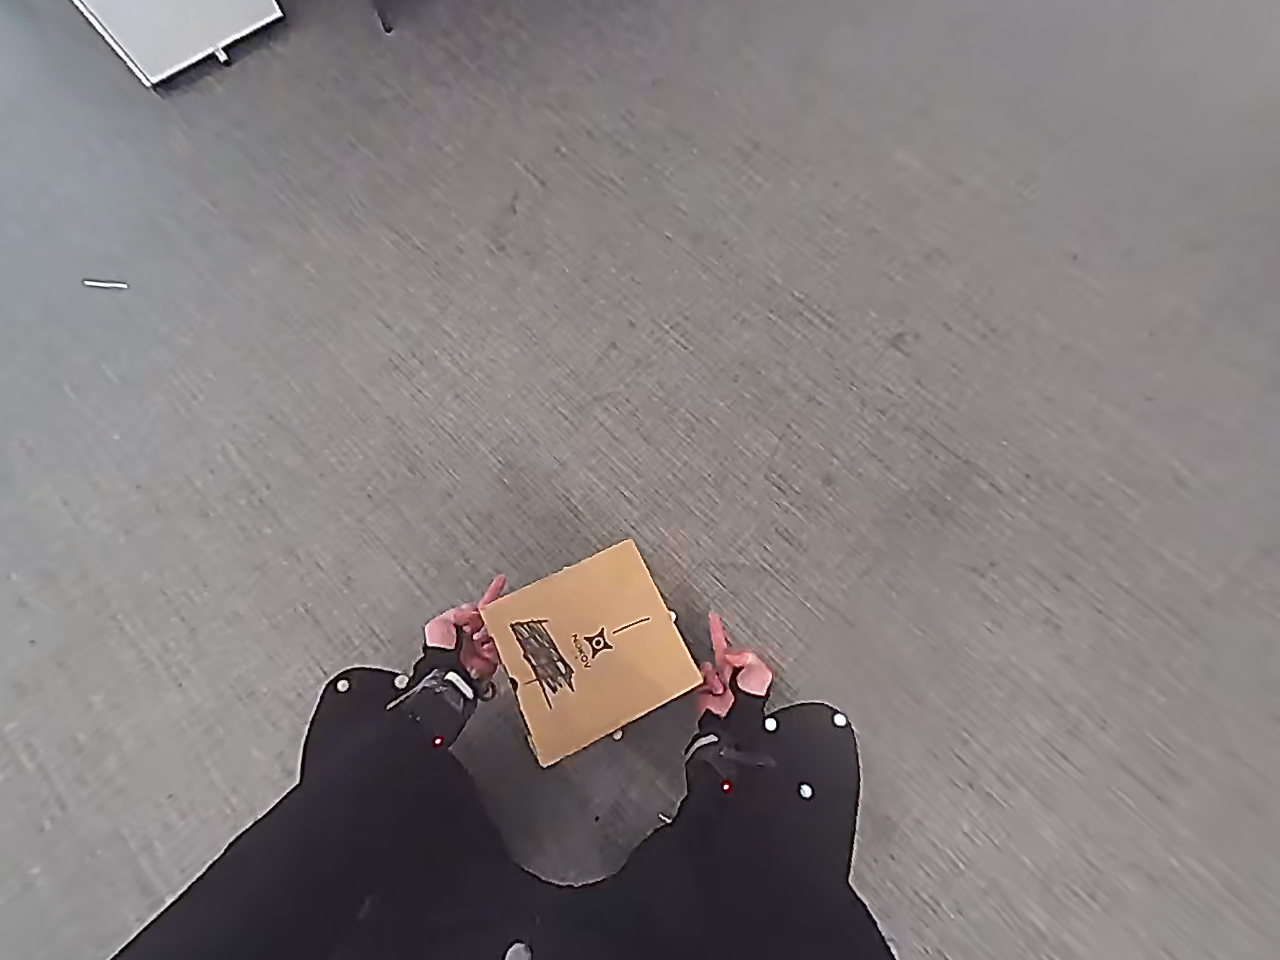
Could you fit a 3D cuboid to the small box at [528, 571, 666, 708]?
[{"bbox_3d":[-0.064,0.279,0.934,0.179,0.176,0.168,21,71,9],"label":"small box"}]
